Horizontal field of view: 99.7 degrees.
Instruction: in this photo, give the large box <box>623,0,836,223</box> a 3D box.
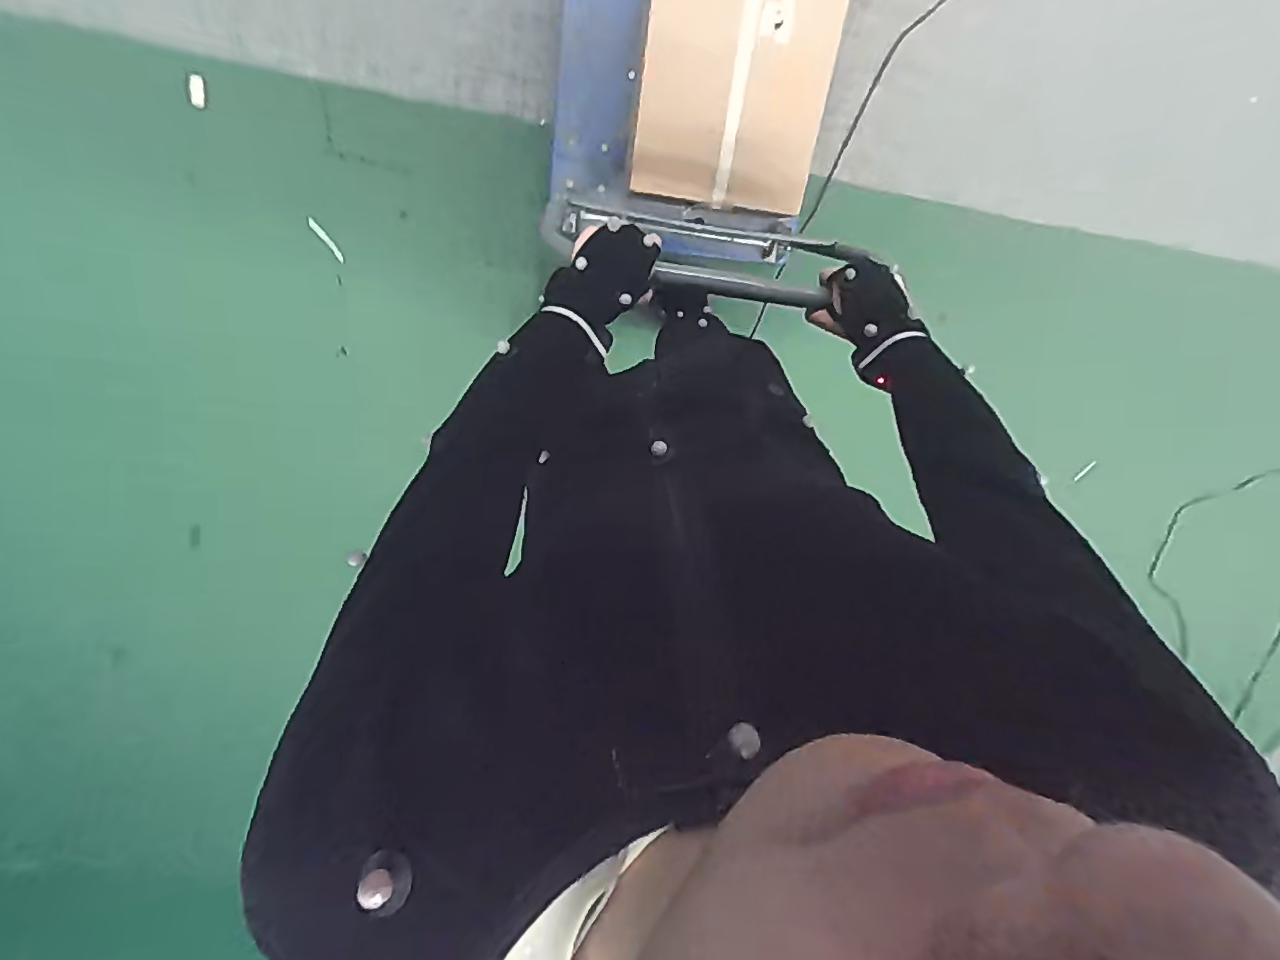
[{"bbox_3d":[0.140,-0.731,1.032,0.320,0.320,0.408,4,113,-8],"label":"large box"}]
